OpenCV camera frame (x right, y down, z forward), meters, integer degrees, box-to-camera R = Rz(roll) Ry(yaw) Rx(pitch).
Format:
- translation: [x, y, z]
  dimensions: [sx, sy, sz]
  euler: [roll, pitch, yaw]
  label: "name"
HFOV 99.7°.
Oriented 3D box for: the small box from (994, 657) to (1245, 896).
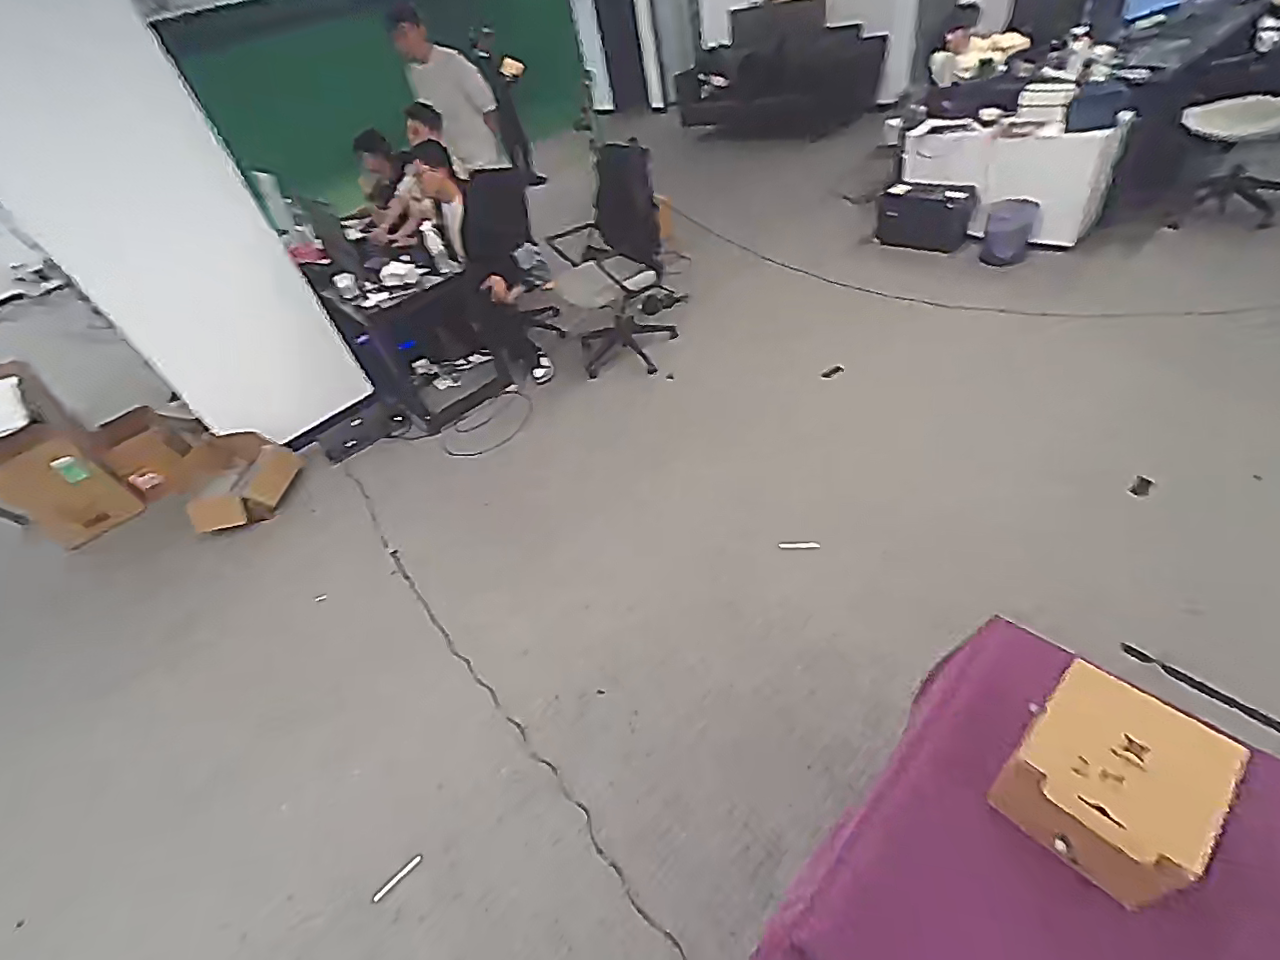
- translation: [0.580, 0.368, 0.677]
  dimensions: [0.179, 0.176, 0.168]
  euler: [-38, 46, -22]
  label: "small box"
